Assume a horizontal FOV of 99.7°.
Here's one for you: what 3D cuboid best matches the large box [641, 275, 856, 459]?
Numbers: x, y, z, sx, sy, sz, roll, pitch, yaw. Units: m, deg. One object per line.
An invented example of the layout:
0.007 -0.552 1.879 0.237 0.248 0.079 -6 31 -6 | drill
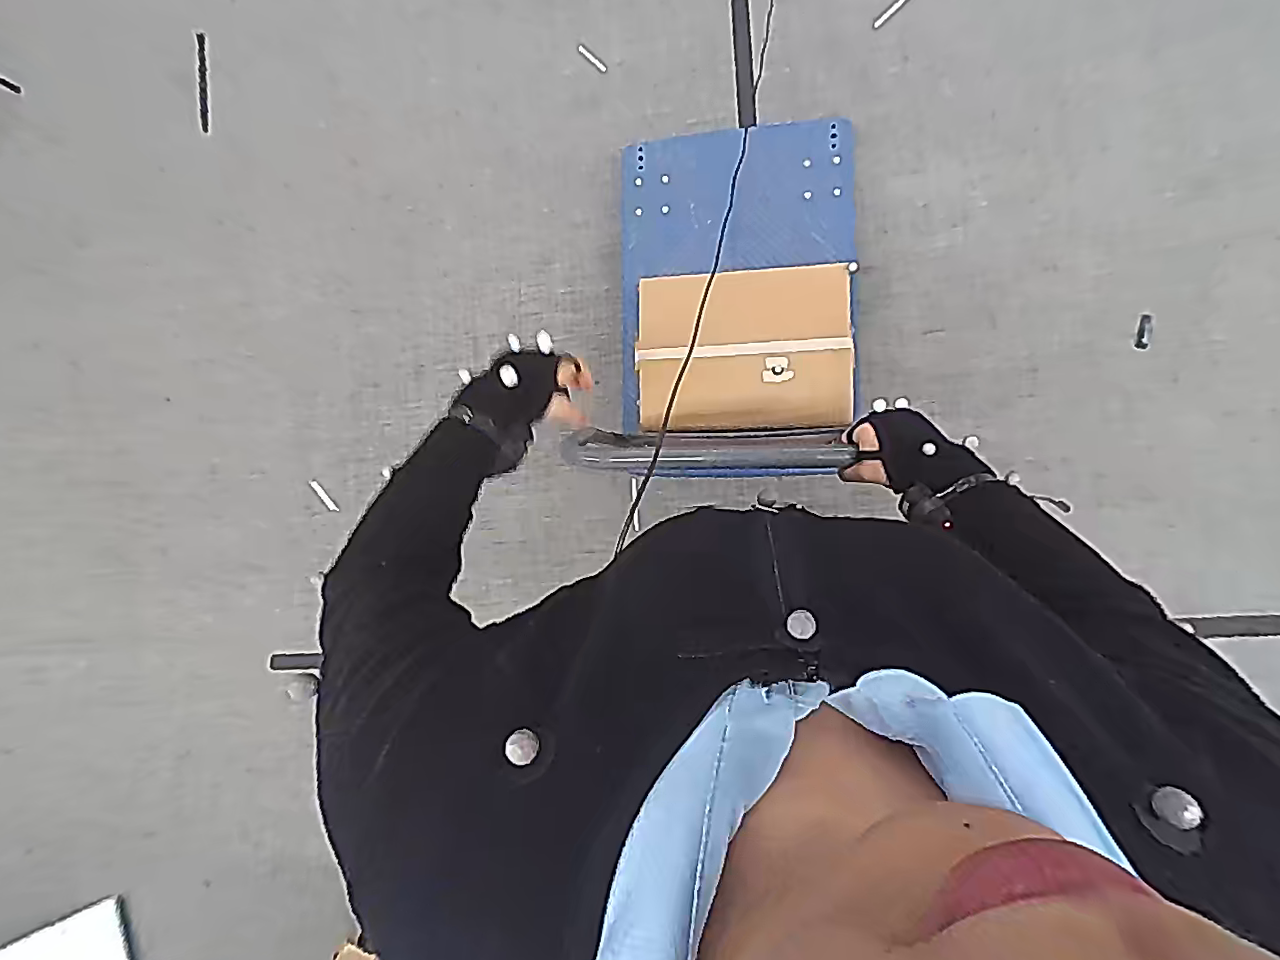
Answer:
0.223 -0.218 1.182 0.408 0.320 0.320 -1 87 9 | large box
